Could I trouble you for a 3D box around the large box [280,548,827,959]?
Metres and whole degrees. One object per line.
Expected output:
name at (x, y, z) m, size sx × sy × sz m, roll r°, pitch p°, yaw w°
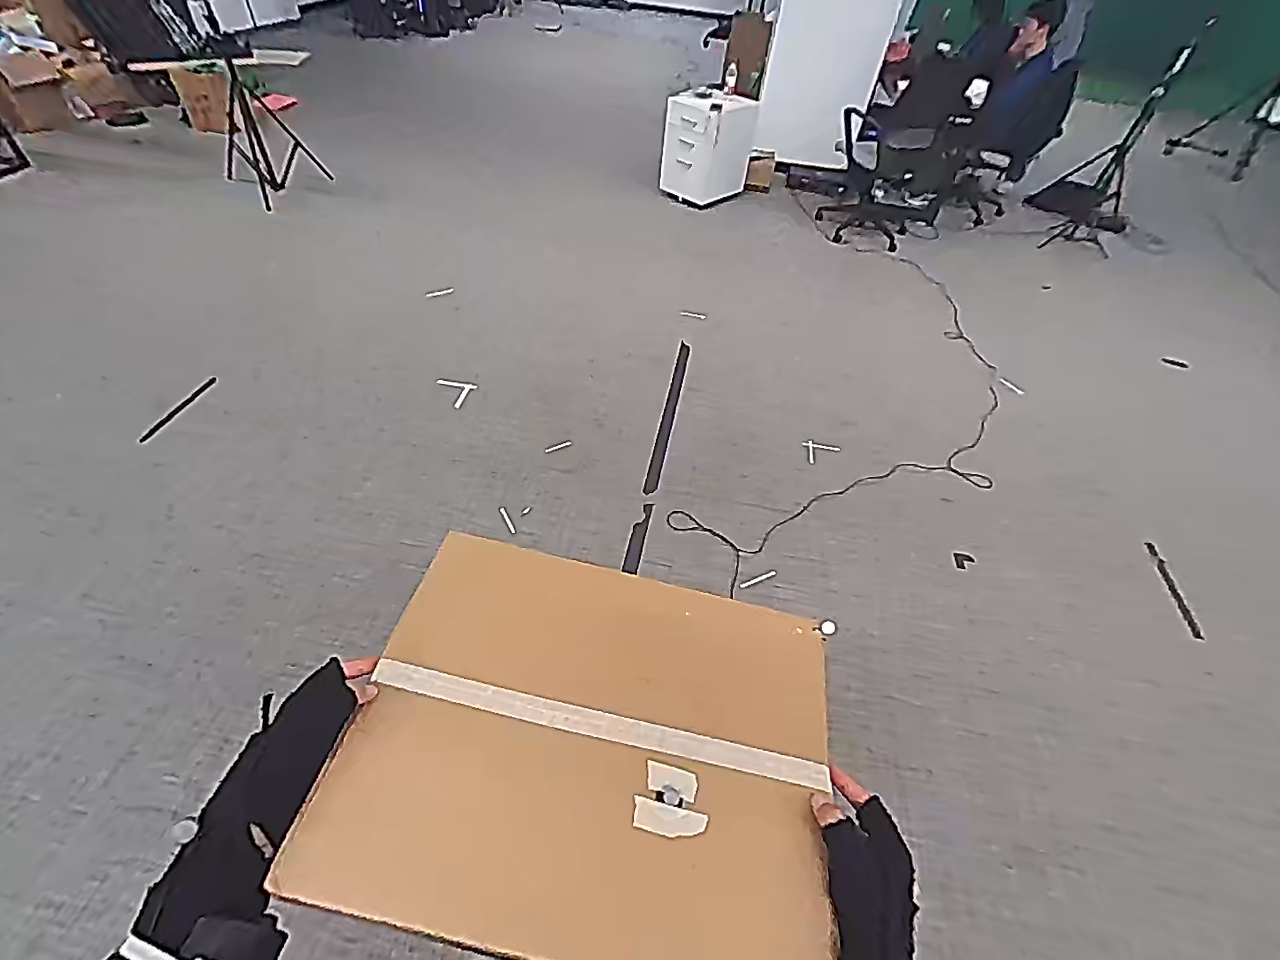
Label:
large box at (-0.061, 0.323, 0.585) m, size 0.408 × 0.320 × 0.320 m, roll 14°, pitch 48°, yaw 0°
